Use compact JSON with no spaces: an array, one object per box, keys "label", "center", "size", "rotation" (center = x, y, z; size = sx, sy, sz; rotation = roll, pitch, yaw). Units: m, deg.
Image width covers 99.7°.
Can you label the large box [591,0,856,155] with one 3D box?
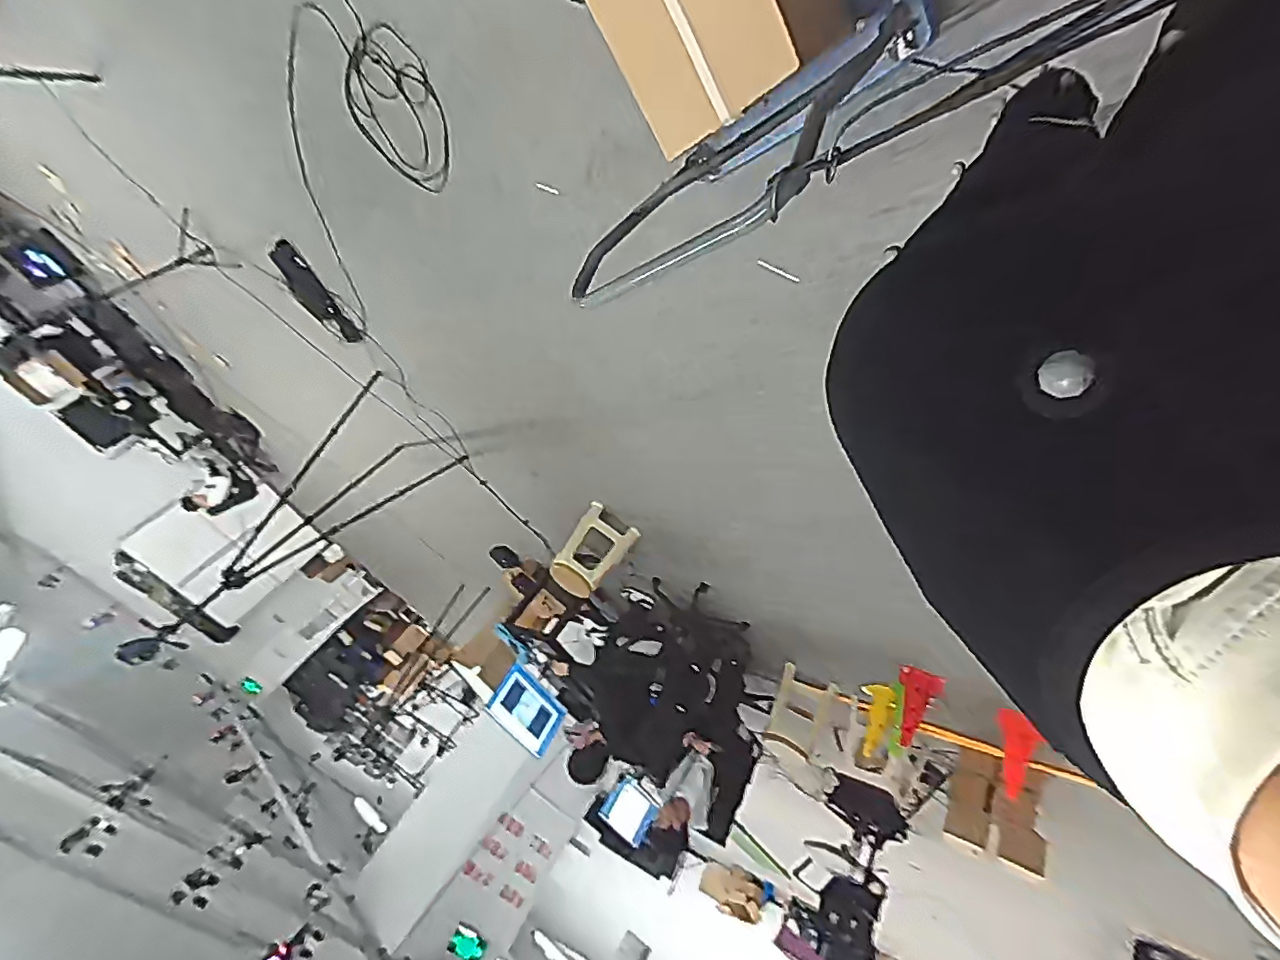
[{"label":"large box","center":[0.141,-0.922,1.004],"size":[0.320,0.320,0.408],"rotation":[-7,125,47]}]
